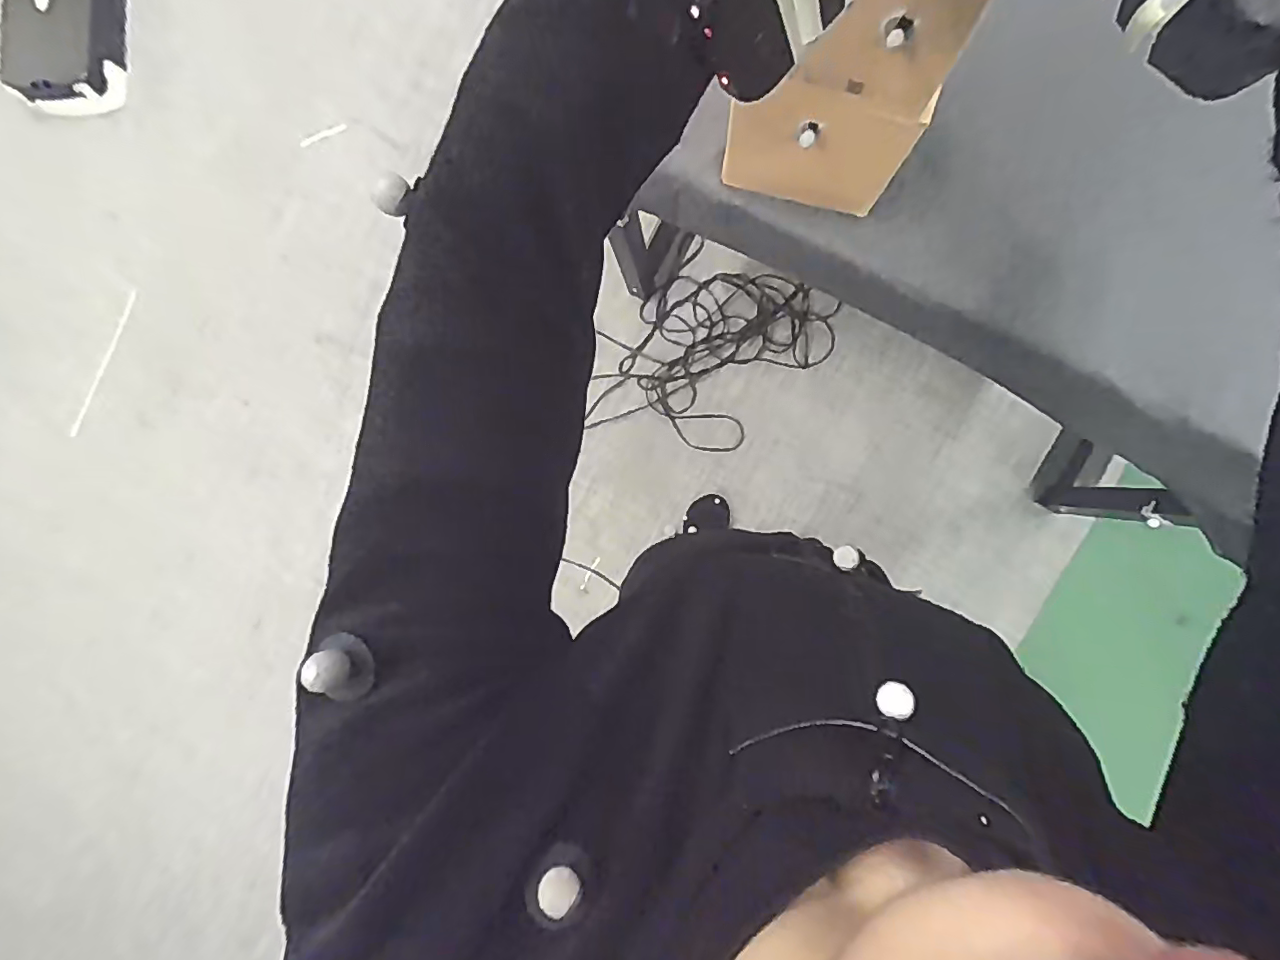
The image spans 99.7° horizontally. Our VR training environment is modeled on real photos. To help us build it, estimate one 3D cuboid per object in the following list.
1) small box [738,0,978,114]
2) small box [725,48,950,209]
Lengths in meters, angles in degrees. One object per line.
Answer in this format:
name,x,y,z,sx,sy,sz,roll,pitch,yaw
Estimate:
small box,0.175,-0.412,0.387,0.168,0.176,0.179,19,91,5
small box,0.195,-0.406,0.548,0.179,0.176,0.168,17,92,6
